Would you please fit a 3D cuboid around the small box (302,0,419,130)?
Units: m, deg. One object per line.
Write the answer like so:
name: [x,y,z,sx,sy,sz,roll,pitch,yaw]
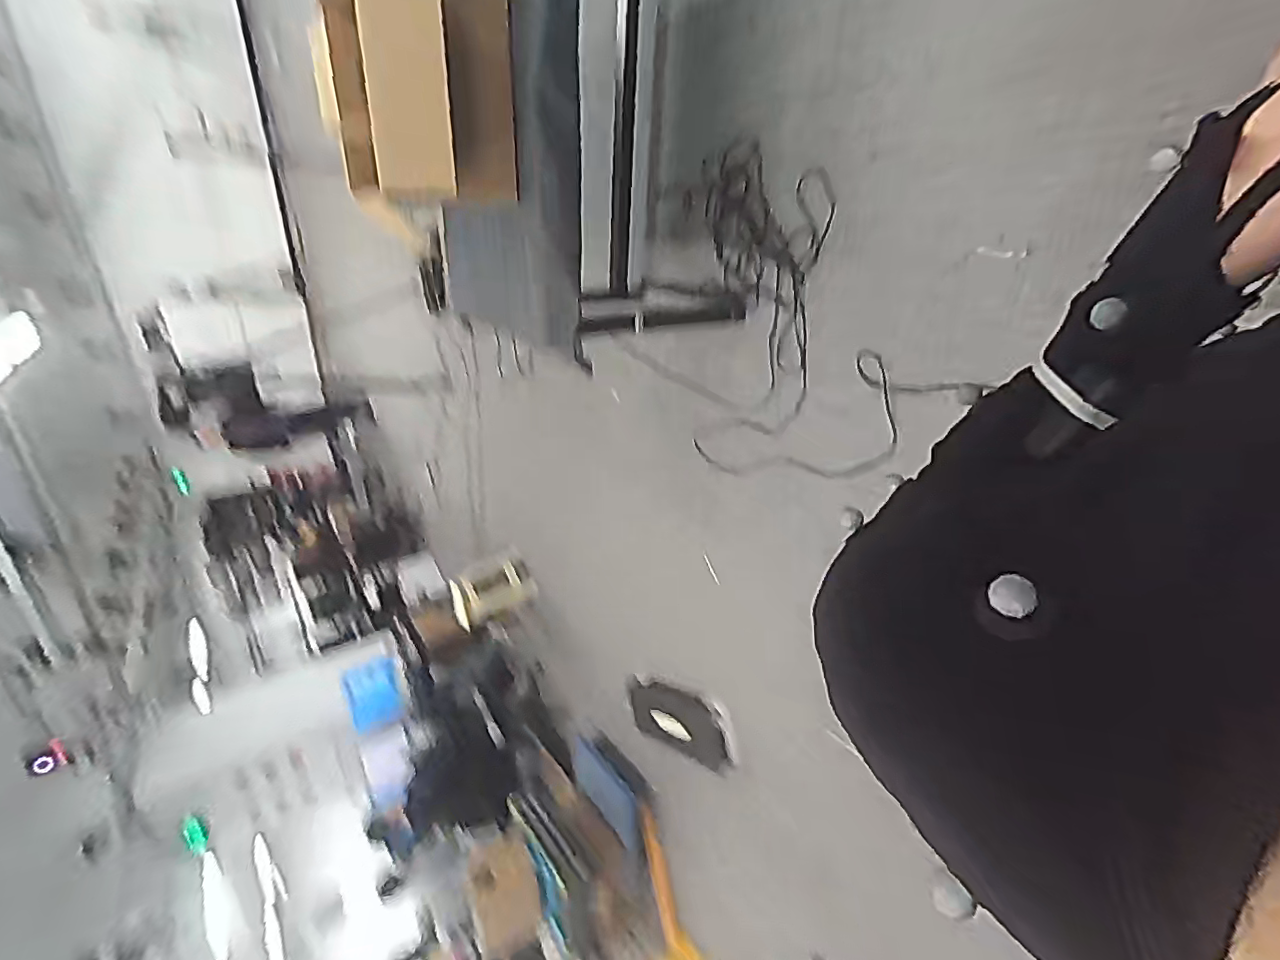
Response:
small box: [-0.576,-0.849,1.122,0.168,0.176,0.179,30,126,45]
